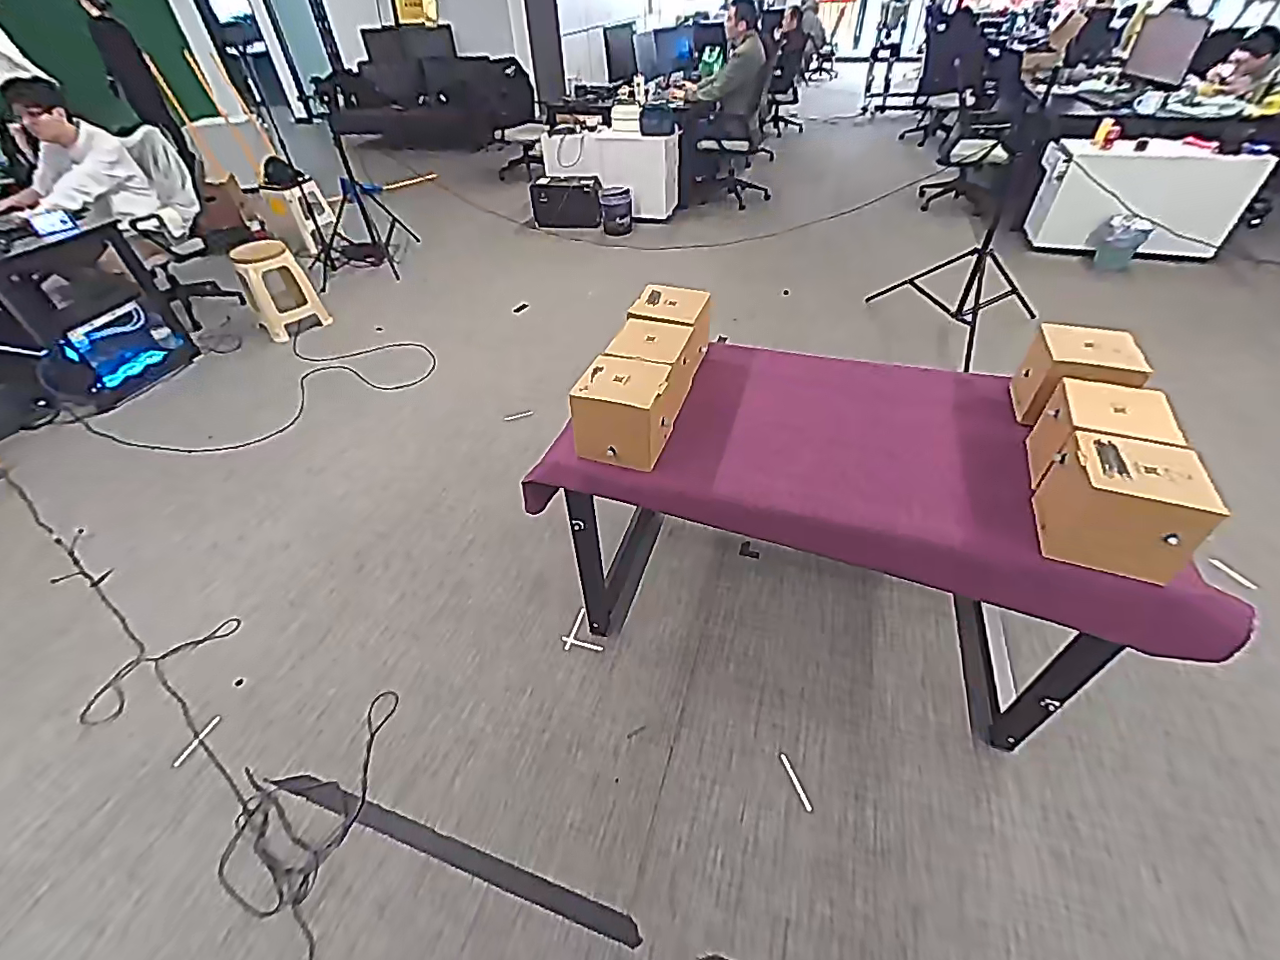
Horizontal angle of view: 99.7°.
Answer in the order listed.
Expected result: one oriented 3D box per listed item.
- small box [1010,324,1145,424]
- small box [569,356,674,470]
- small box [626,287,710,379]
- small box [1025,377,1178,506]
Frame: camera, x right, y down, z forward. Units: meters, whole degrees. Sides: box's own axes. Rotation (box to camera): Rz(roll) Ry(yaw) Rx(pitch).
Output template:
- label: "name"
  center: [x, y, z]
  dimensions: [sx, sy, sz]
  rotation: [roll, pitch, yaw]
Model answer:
- label: "small box"
  center: [0.955, -0.225, 1.205]
  dimensions: [0.179, 0.176, 0.168]
  rotation: [13, 46, 15]
- label: "small box"
  center: [-0.035, -0.143, 1.176]
  dimensions: [0.179, 0.176, 0.168]
  rotation: [13, 44, 14]
- label: "small box"
  center: [0.074, -0.387, 1.427]
  dimensions: [0.179, 0.176, 0.168]
  rotation: [14, 48, 15]
- label: "small box"
  center: [0.884, -0.074, 1.057]
  dimensions: [0.168, 0.176, 0.179]
  rotation: [15, 45, 19]
